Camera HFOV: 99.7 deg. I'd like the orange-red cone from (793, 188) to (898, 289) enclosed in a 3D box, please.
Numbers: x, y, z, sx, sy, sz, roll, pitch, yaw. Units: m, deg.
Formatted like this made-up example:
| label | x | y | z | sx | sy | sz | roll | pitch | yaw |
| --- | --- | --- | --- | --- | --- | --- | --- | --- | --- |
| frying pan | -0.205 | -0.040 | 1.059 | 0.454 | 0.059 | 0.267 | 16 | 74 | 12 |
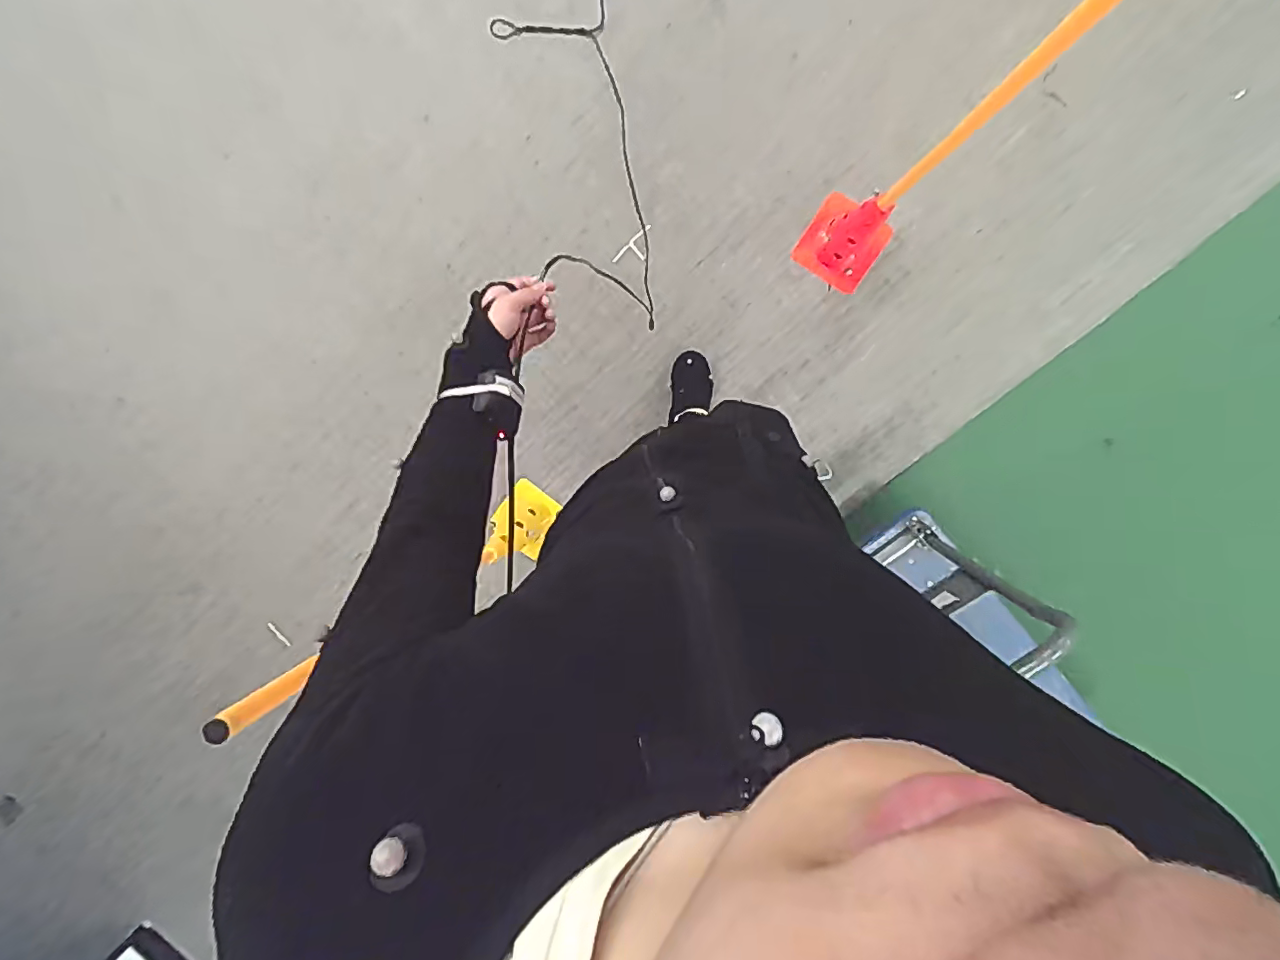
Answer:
| label | x | y | z | sx | sy | sz | roll | pitch | yaw |
| --- | --- | --- | --- | --- | --- | --- | --- | --- | --- |
| orange-red cone | 0.520 | -0.608 | 1.267 | 0.198 | 0.360 | 0.199 | 34 | 101 | -2 |
